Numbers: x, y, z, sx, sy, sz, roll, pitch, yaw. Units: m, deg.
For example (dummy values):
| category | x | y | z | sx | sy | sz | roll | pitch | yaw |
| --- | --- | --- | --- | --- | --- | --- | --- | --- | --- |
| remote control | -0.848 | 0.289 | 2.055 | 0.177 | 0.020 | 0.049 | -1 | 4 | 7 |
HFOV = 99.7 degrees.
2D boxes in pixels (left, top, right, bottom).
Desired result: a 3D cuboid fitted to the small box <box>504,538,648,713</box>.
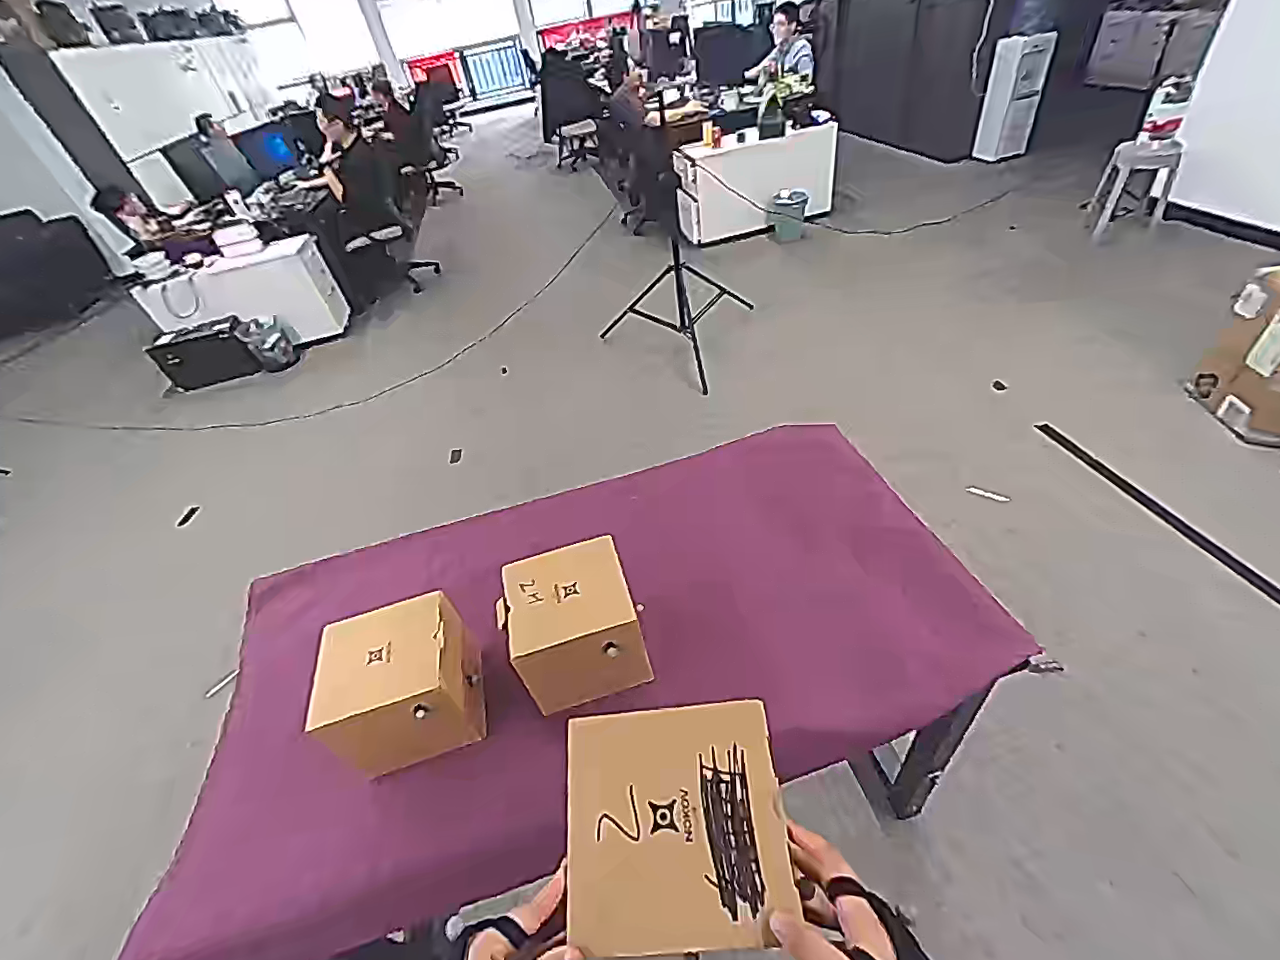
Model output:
| category | x | y | z | sx | sy | sz | roll | pitch | yaw |
| --- | --- | --- | --- | --- | --- | --- | --- | --- | --- |
| small box | -0.093 | 0.221 | 0.823 | 0.179 | 0.176 | 0.168 | -17 | 41 | -5 |

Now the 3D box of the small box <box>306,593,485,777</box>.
| category | x | y | z | sx | sy | sz | roll | pitch | yaw |
| --- | --- | --- | --- | --- | --- | --- | --- | --- | --- |
| small box | -0.345 | 0.303 | 0.795 | 0.179 | 0.176 | 0.168 | -17 | 42 | -7 |
